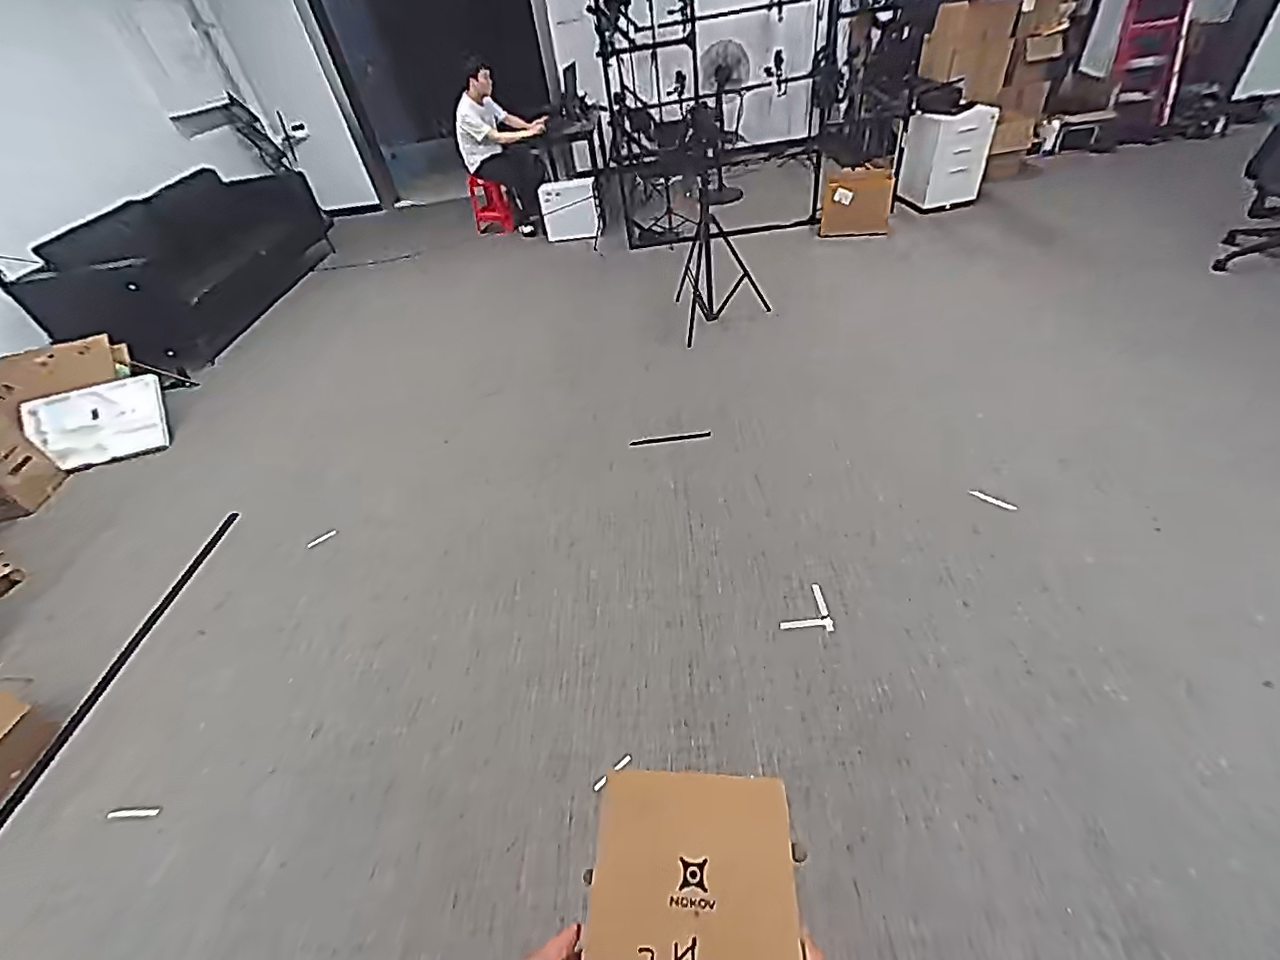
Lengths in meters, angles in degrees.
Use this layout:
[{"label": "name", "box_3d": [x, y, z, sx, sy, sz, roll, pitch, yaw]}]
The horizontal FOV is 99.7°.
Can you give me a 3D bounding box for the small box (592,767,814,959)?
[{"label": "small box", "box_3d": [0.056, 0.384, 0.481, 0.168, 0.176, 0.179, -1, 41, 7]}]
